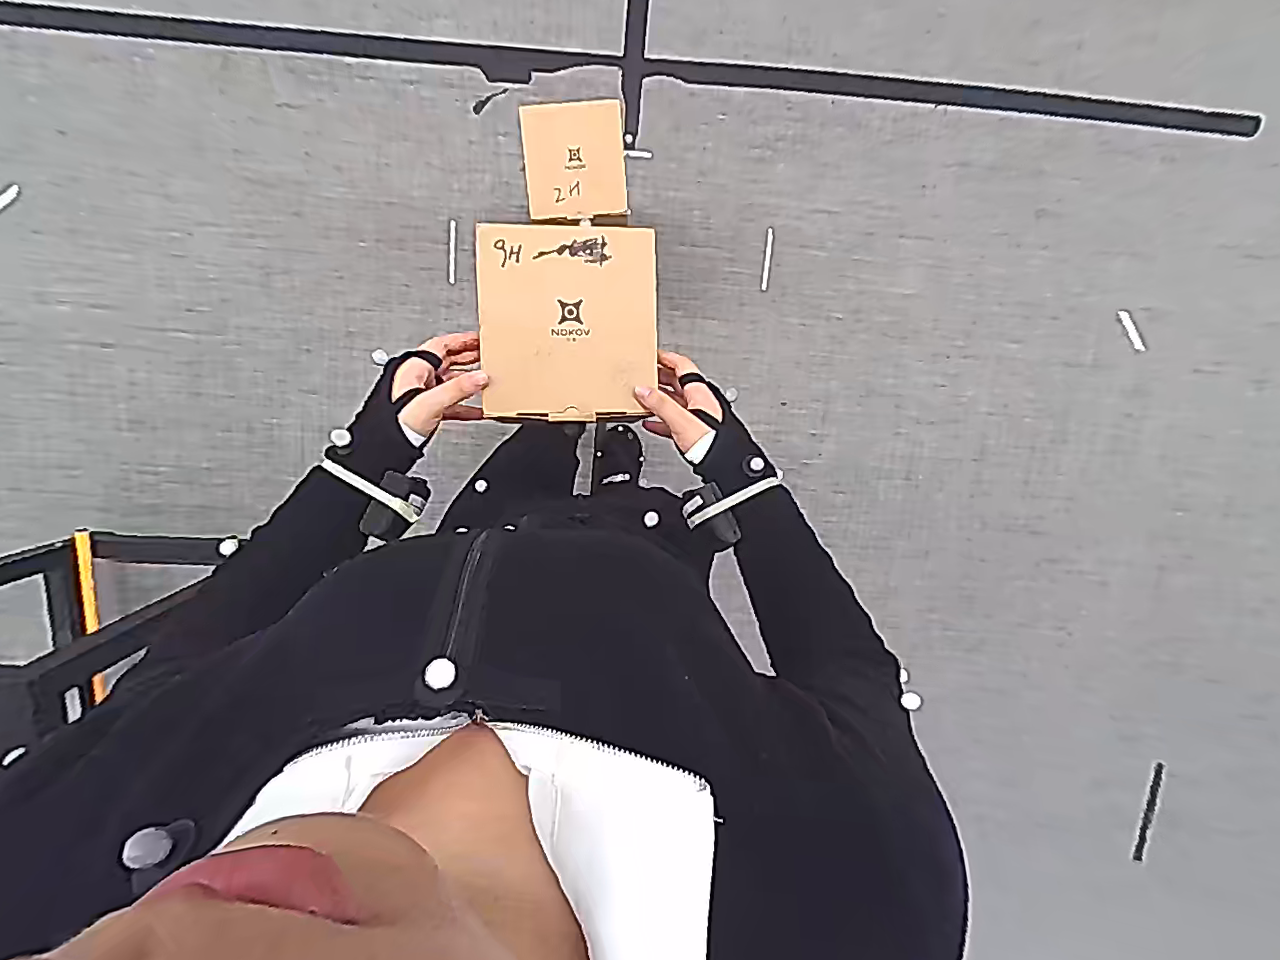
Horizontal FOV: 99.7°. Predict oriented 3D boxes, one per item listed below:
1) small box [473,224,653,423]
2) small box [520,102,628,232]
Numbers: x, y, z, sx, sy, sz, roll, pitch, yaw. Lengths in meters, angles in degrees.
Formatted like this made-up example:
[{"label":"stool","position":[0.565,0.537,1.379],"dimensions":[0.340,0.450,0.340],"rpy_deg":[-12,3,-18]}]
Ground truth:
[{"label":"small box","position":[-0.079,-0.151,0.580],"dimensions":[0.168,0.176,0.179],"rpy_deg":[0,94,-7]},{"label":"small box","position":[-0.110,-0.532,0.960],"dimensions":[0.168,0.176,0.179],"rpy_deg":[-4,101,-1]}]
